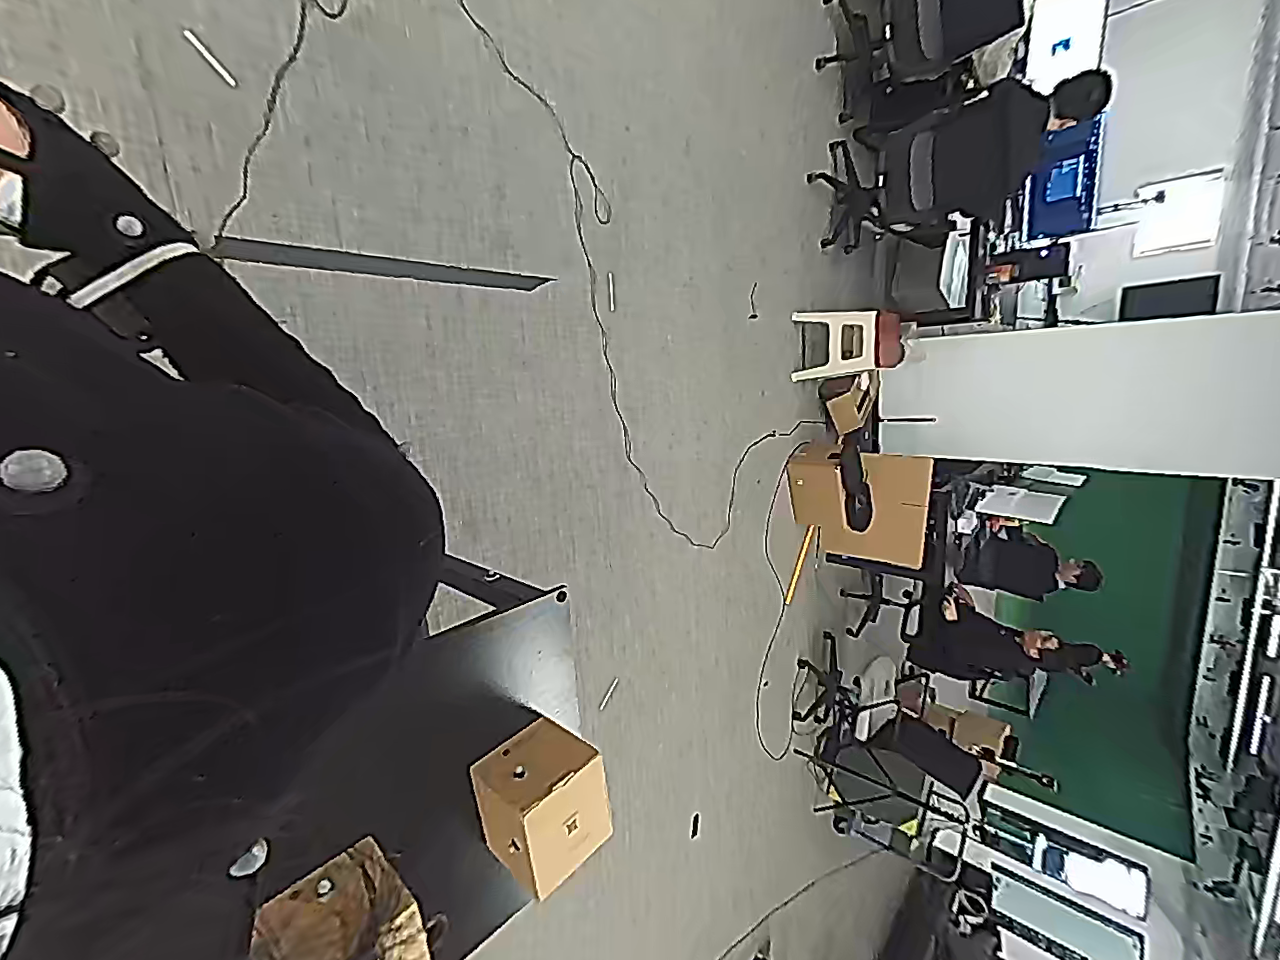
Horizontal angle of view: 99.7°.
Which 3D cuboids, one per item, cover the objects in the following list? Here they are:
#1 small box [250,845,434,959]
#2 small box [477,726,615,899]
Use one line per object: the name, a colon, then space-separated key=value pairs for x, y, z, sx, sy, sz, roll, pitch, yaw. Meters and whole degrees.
small box: x=-0.392 y=0.648 z=0.723 sx=0.168 sy=0.176 sz=0.179 roll=-18 pitch=107 yaw=-45
small box: x=-0.168 y=0.567 z=0.956 sx=0.168 sy=0.176 sz=0.179 roll=-21 pitch=111 yaw=-43
